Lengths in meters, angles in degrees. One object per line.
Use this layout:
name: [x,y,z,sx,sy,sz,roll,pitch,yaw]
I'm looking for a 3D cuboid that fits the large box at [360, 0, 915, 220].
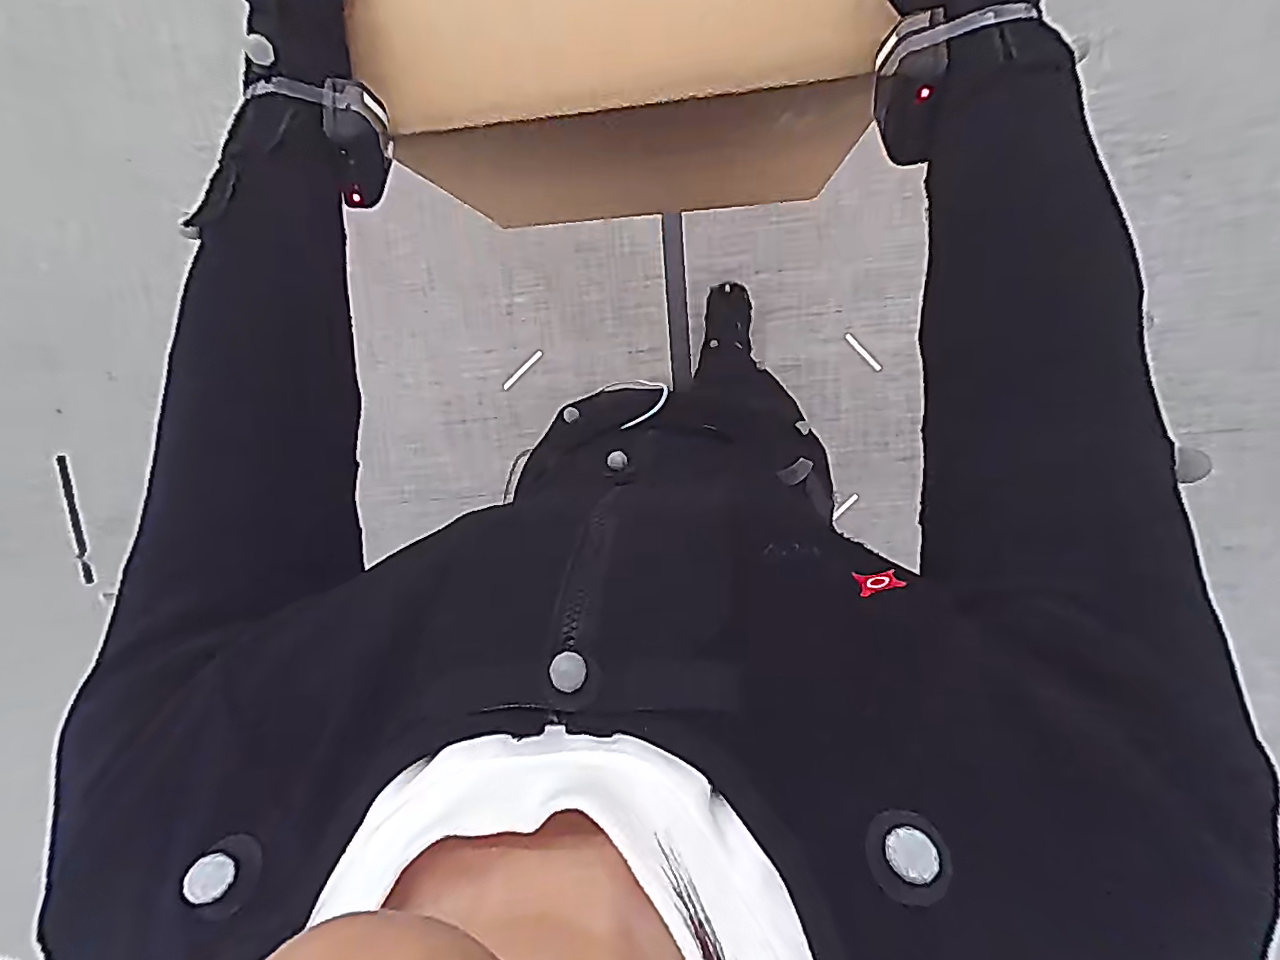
large box: [-0.006,-0.467,0.512,0.408,0.320,0.320,-3,103,6]
